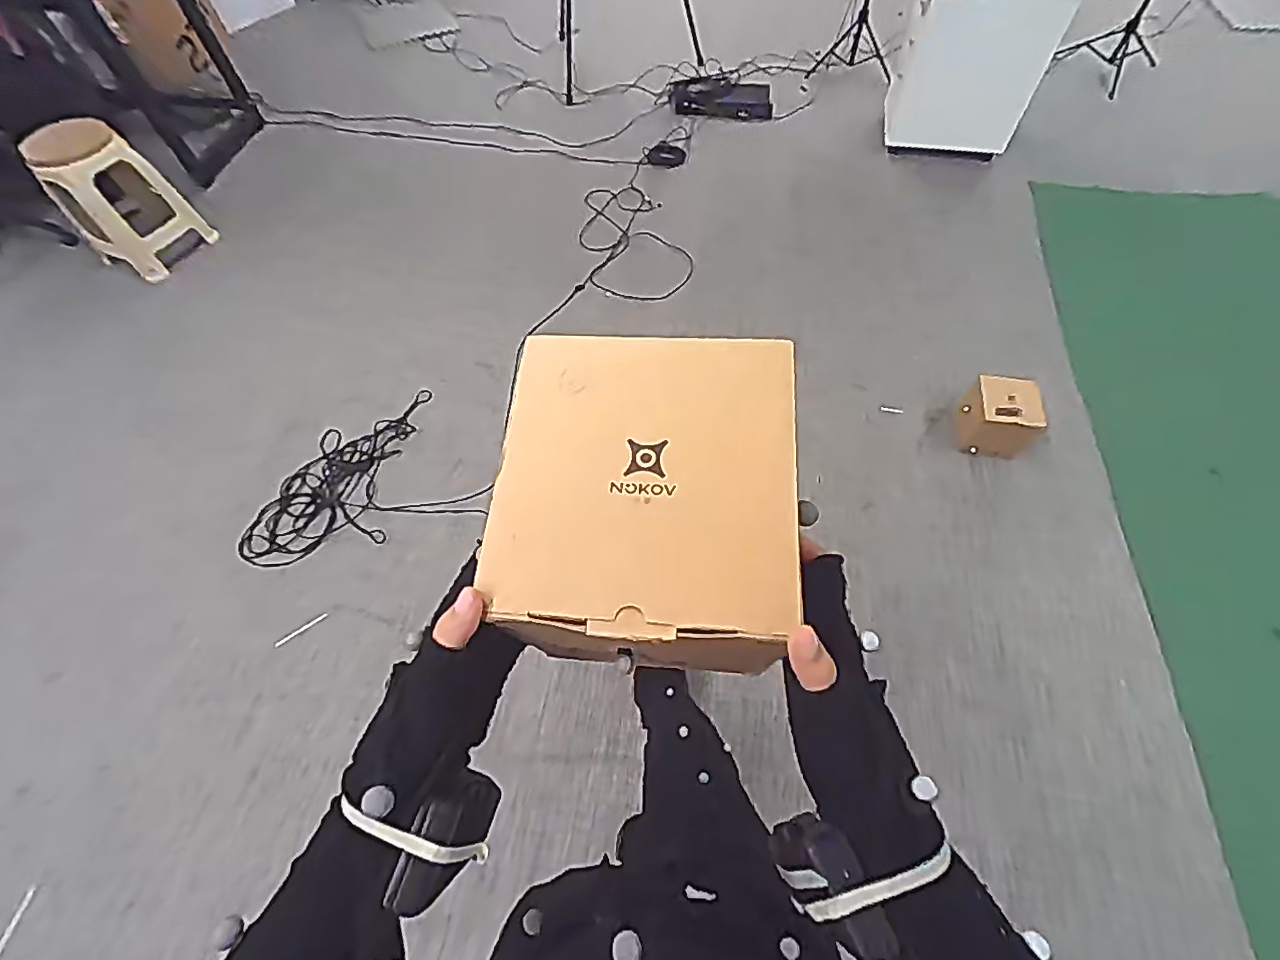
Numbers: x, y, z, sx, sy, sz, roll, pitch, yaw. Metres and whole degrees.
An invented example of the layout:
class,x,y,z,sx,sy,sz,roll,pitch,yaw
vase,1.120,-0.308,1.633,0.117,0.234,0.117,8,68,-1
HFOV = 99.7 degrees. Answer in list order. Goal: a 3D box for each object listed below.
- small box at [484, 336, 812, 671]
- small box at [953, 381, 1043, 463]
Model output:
class,x,y,z,sx,sy,sz,roll,pitch,yaw
small box,0.014,0.025,0.370,0.168,0.176,0.179,2,66,6
small box,1.080,-0.173,1.647,0.168,0.176,0.179,9,59,8
